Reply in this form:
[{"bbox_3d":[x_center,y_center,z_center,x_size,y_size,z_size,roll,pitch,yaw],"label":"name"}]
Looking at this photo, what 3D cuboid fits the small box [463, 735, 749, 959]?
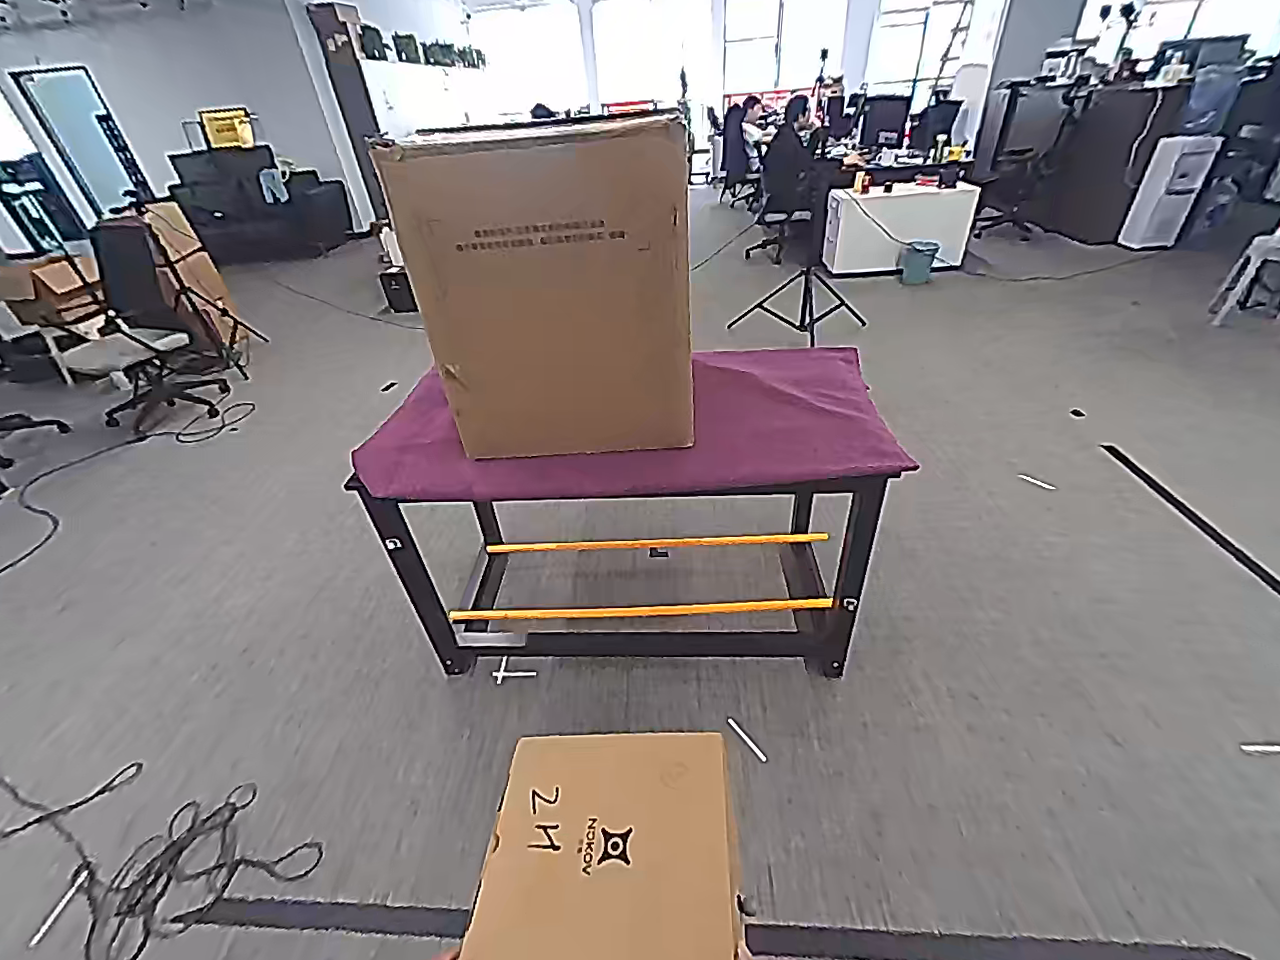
[{"bbox_3d":[-0.007,0.324,0.423,0.179,0.176,0.168,-6,32,10],"label":"small box"}]
